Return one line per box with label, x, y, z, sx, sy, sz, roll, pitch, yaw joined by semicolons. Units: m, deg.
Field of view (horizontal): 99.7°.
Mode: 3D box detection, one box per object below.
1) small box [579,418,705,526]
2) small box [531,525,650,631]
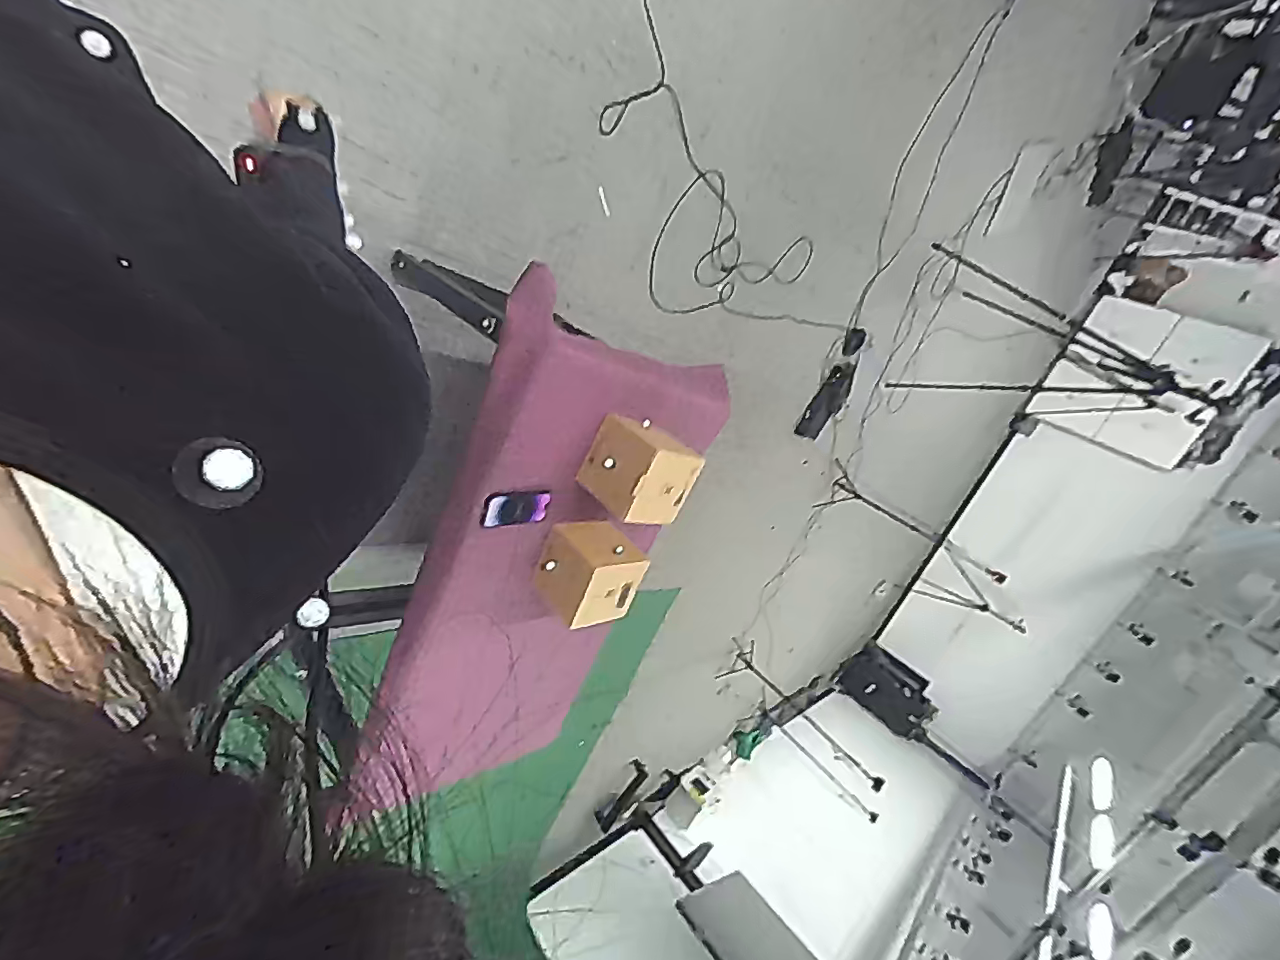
small box;-0.001;-0.019;1.163;0.179;0.176;0.168;10;112;-50
small box;-0.116;0.214;1.231;0.179;0.176;0.168;2;118;-48
